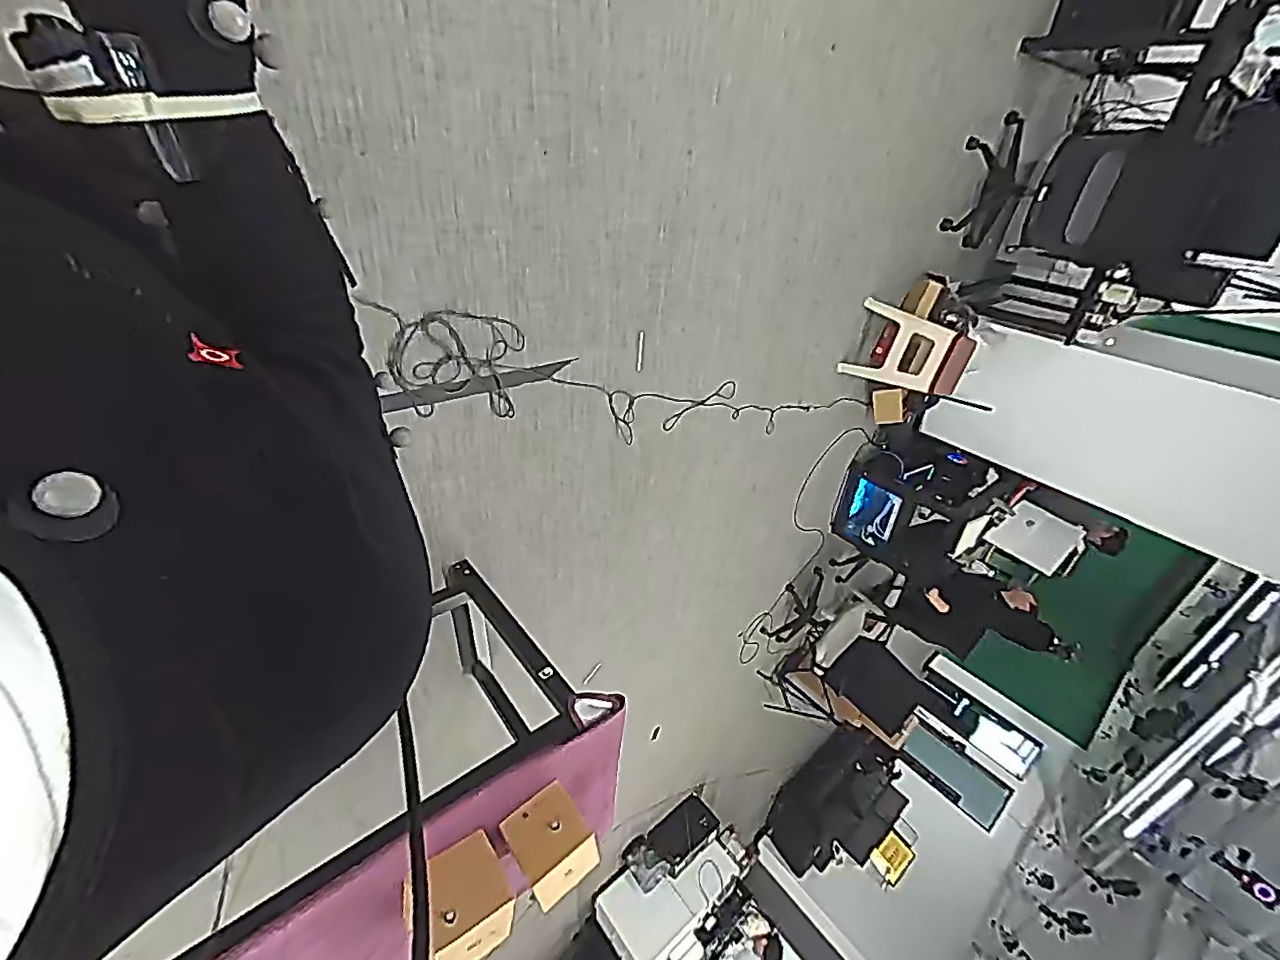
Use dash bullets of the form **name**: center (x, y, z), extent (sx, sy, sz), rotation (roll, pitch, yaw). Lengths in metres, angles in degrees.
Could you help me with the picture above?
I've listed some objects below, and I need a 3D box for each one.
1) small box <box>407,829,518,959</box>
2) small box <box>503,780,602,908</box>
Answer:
- **small box**: center (-0.386, 0.905, 1.157), extent (0.179, 0.176, 0.168), rotation (-12, 126, -41)
- **small box**: center (-0.213, 0.871, 1.310), extent (0.168, 0.176, 0.179), rotation (-28, 134, -29)
